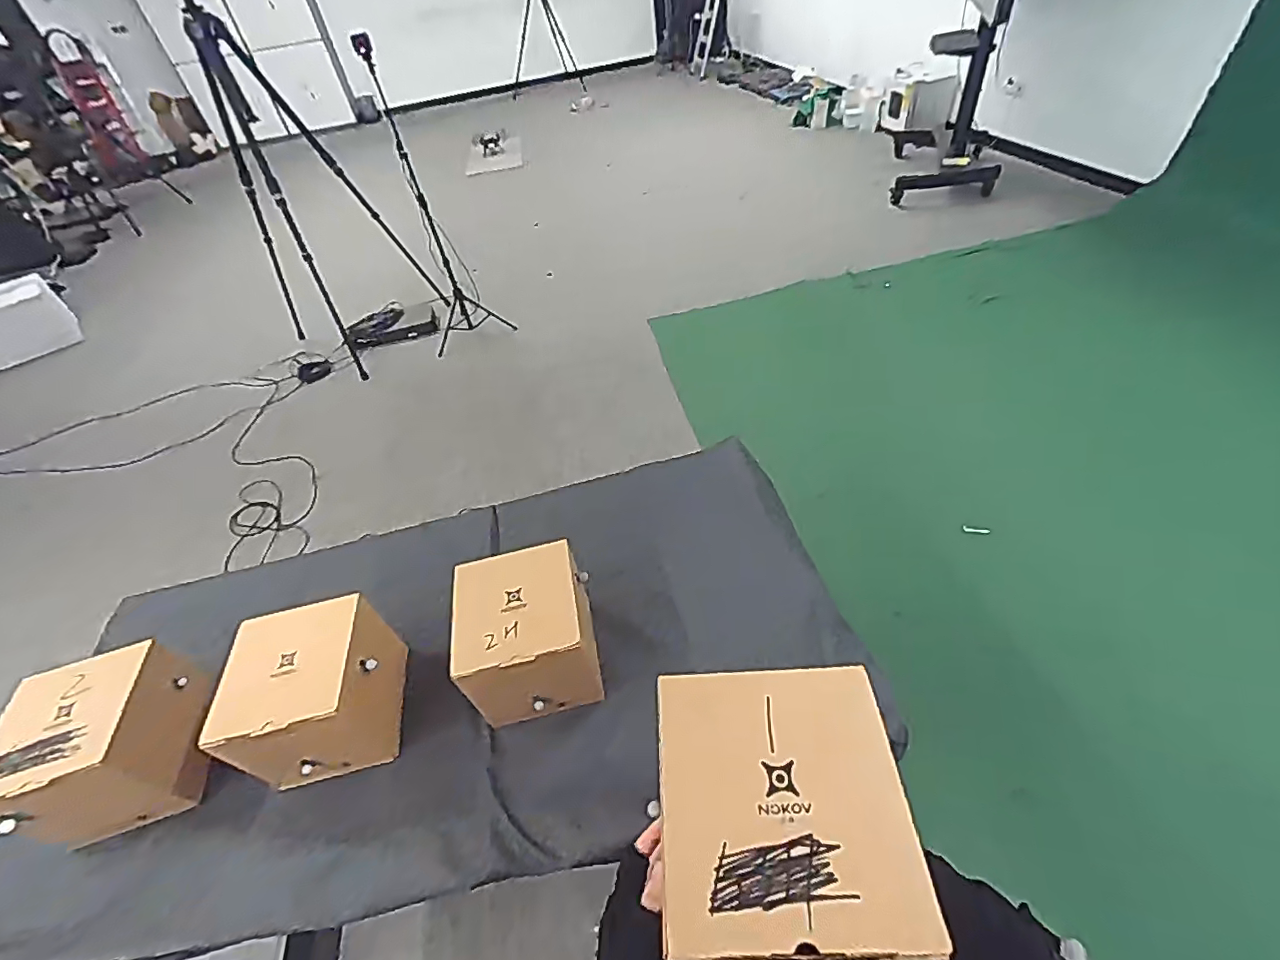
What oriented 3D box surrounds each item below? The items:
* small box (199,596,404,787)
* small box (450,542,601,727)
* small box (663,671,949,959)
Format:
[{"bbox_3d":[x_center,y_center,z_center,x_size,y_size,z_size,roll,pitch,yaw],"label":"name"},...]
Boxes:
[{"bbox_3d":[-0.446,0.293,0.752,0.168,0.176,0.179,-13,46,-4],"label":"small box"},{"bbox_3d":[-0.158,0.221,0.775,0.168,0.176,0.179,-13,45,-3],"label":"small box"},{"bbox_3d":[0.106,0.273,0.429,0.168,0.176,0.179,-4,46,3],"label":"small box"}]
